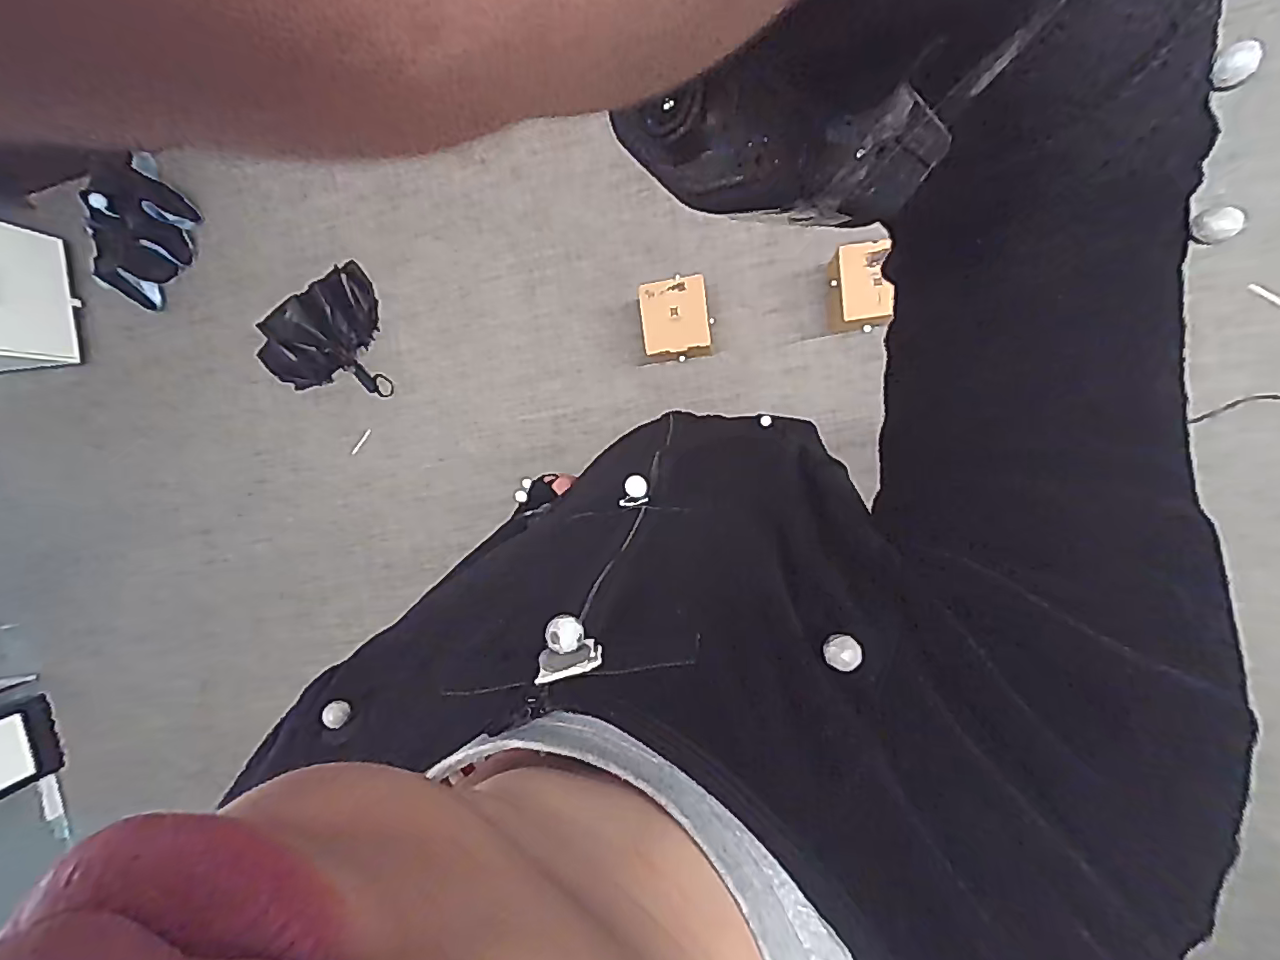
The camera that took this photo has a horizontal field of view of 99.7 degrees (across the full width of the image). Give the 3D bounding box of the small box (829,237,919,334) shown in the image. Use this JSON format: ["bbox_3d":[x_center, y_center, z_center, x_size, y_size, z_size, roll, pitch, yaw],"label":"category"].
[{"bbox_3d":[0.571,-0.471,1.336,0.168,0.176,0.179,-6,95,12],"label":"small box"}]

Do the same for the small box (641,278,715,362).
[{"bbox_3d":[0.107,-0.411,1.426,0.168,0.176,0.179,-6,94,11],"label":"small box"}]
